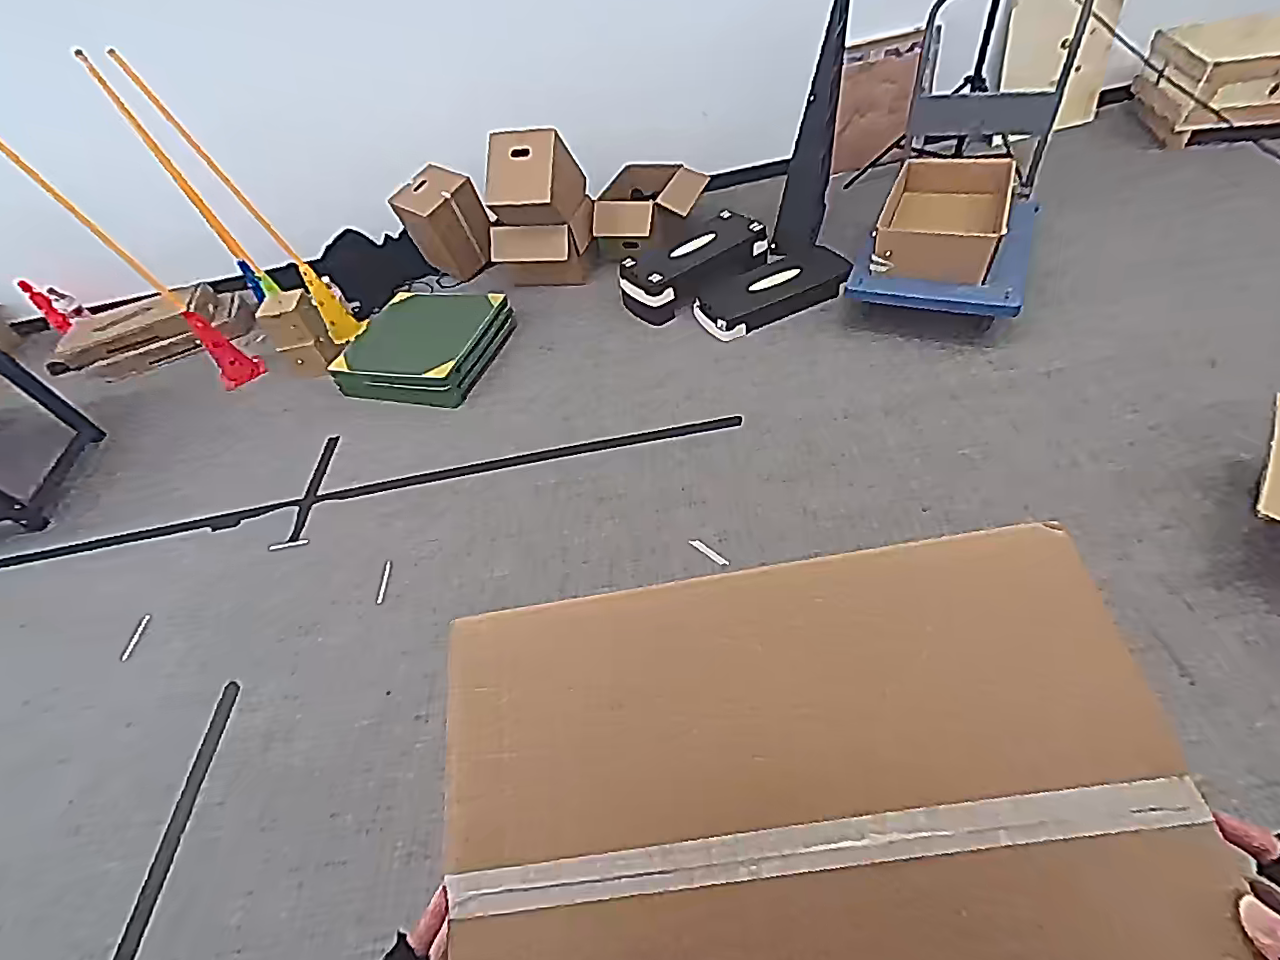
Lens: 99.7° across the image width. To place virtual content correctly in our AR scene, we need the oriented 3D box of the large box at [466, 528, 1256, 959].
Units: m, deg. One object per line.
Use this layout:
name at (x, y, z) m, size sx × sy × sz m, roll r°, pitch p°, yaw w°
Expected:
large box at (0.113, 0.265, 0.438) m, size 0.408 × 0.320 × 0.320 m, roll -10°, pitch 65°, yaw 5°
